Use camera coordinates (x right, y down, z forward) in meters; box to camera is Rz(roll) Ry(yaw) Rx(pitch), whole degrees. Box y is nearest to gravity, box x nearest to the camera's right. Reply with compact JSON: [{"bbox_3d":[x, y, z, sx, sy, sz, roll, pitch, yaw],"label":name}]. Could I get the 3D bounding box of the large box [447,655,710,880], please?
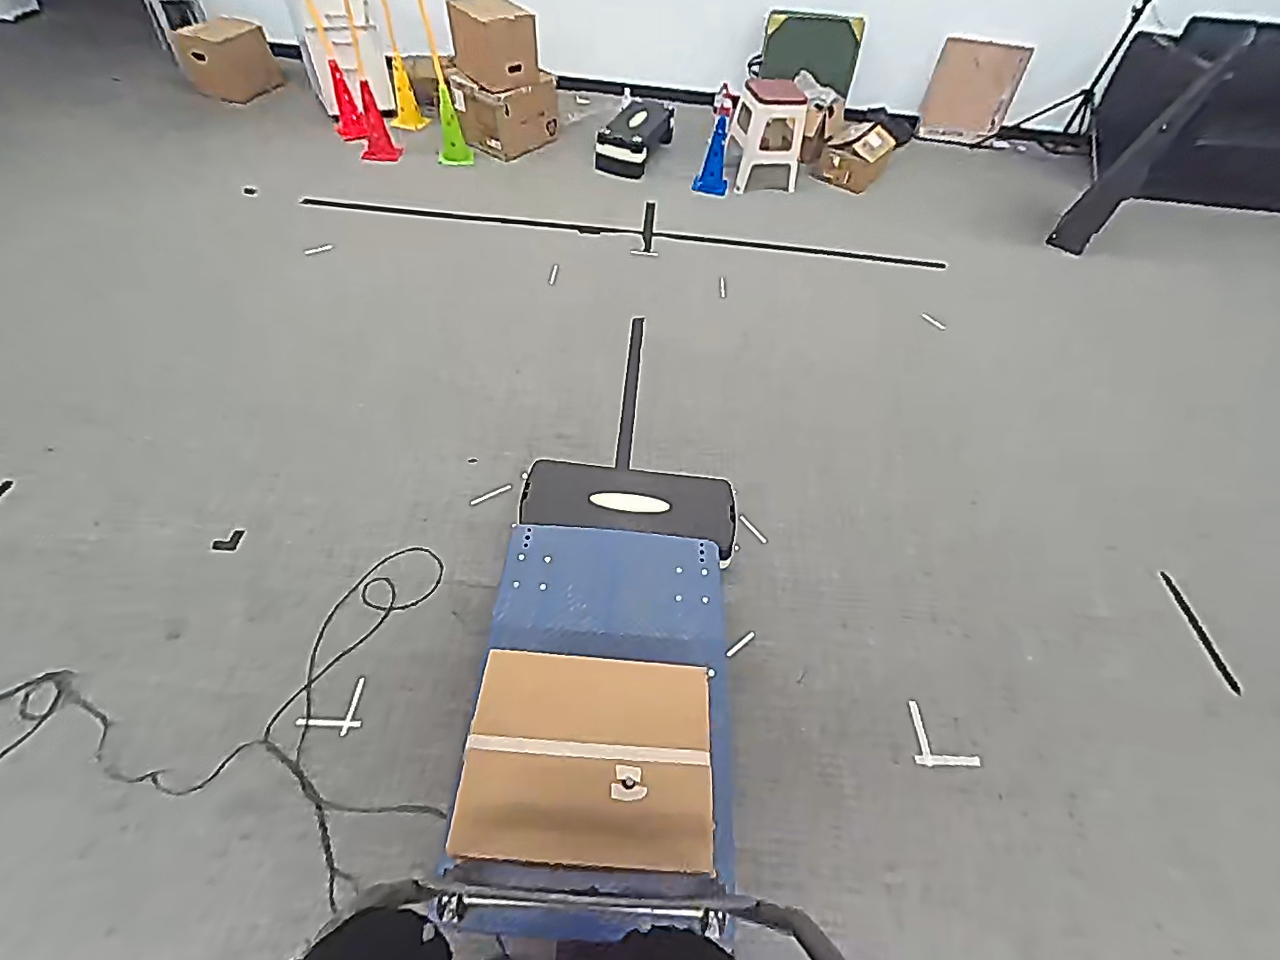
[{"bbox_3d":[-0.101,0.546,1.012,0.408,0.320,0.320,6,52,-3],"label":"large box"}]
